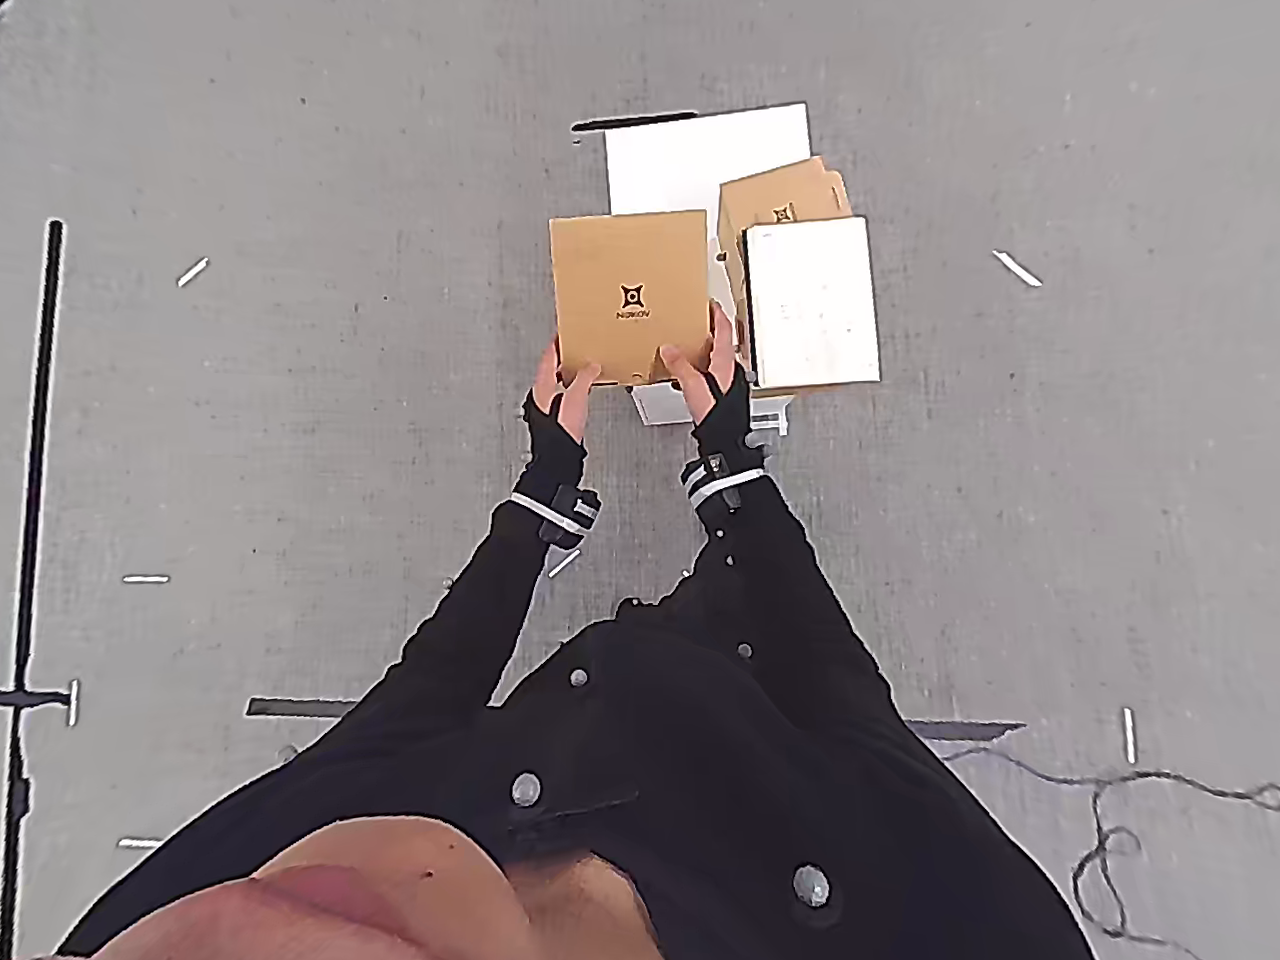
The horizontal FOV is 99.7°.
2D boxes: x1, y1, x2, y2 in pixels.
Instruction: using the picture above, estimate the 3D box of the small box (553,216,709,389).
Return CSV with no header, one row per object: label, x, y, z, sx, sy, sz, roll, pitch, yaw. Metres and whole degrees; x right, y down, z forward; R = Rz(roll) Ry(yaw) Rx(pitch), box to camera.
small box,-0.009,-0.204,0.657,0.168,0.176,0.179,-3,103,0
